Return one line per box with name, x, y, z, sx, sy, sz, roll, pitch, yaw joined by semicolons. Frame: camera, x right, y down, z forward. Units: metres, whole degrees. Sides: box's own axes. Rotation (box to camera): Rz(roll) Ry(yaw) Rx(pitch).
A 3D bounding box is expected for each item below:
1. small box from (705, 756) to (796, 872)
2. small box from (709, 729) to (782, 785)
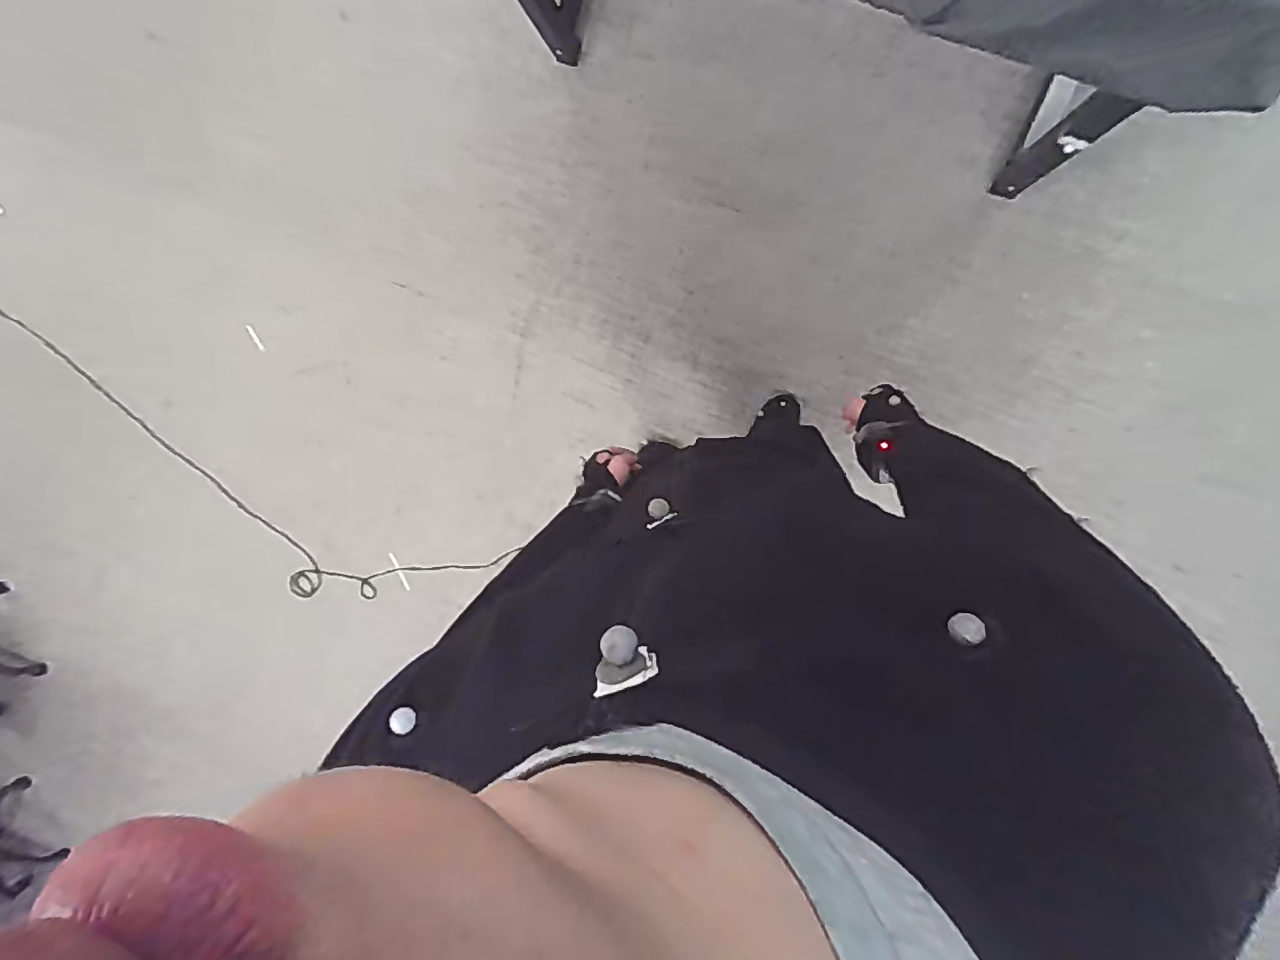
small box;0.296;0.895;1.460;0.179;0.176;0.168;-37;93;15
small box;0.323;0.890;1.625;0.168;0.176;0.179;-24;95;14
